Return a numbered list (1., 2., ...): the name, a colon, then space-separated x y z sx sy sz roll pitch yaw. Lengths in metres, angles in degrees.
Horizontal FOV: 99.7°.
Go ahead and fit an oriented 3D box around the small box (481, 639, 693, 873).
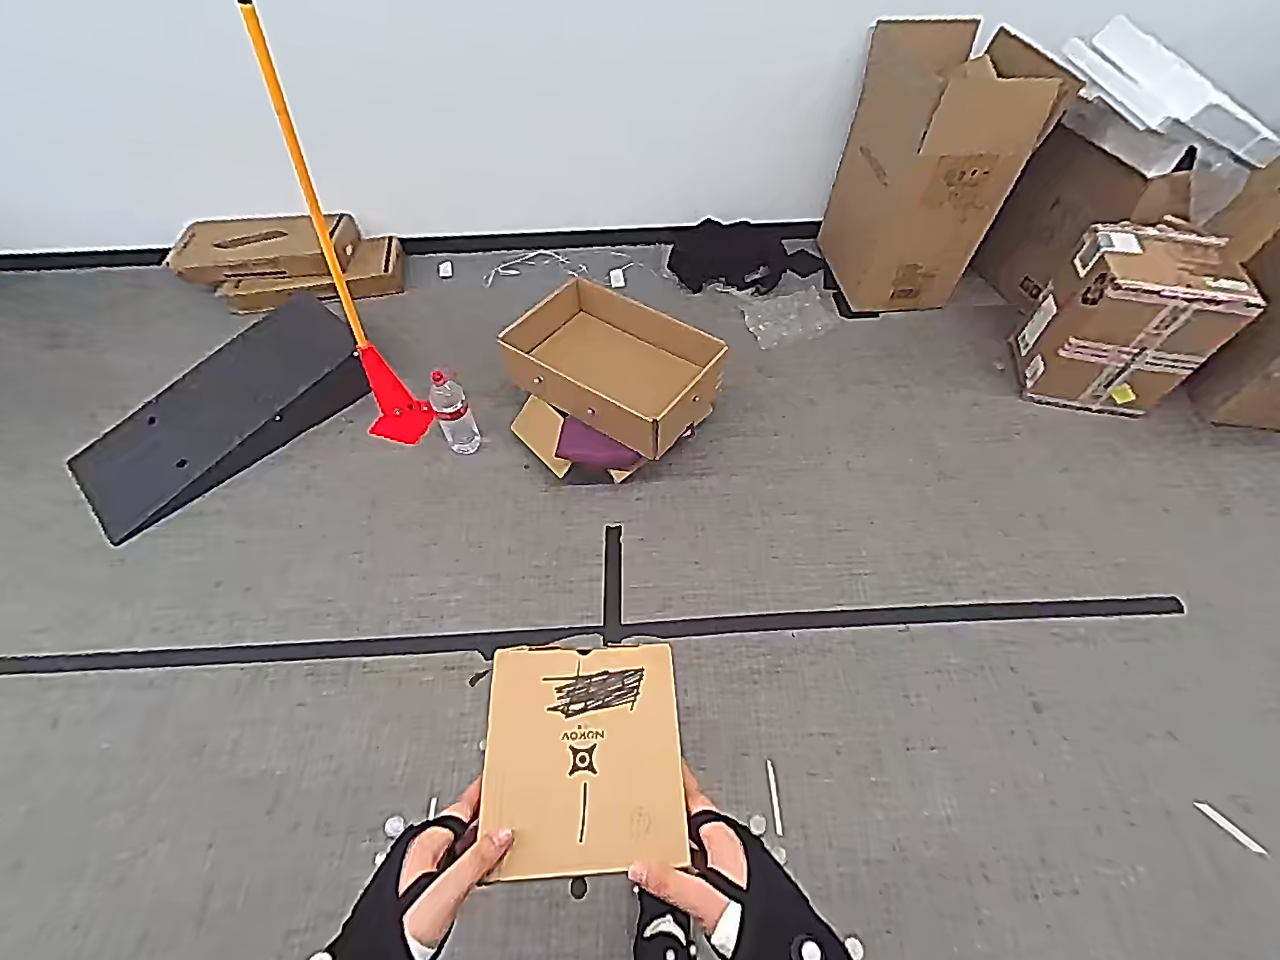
1. small box: -0.050 0.269 0.524 0.168 0.176 0.179 0 55 -6
